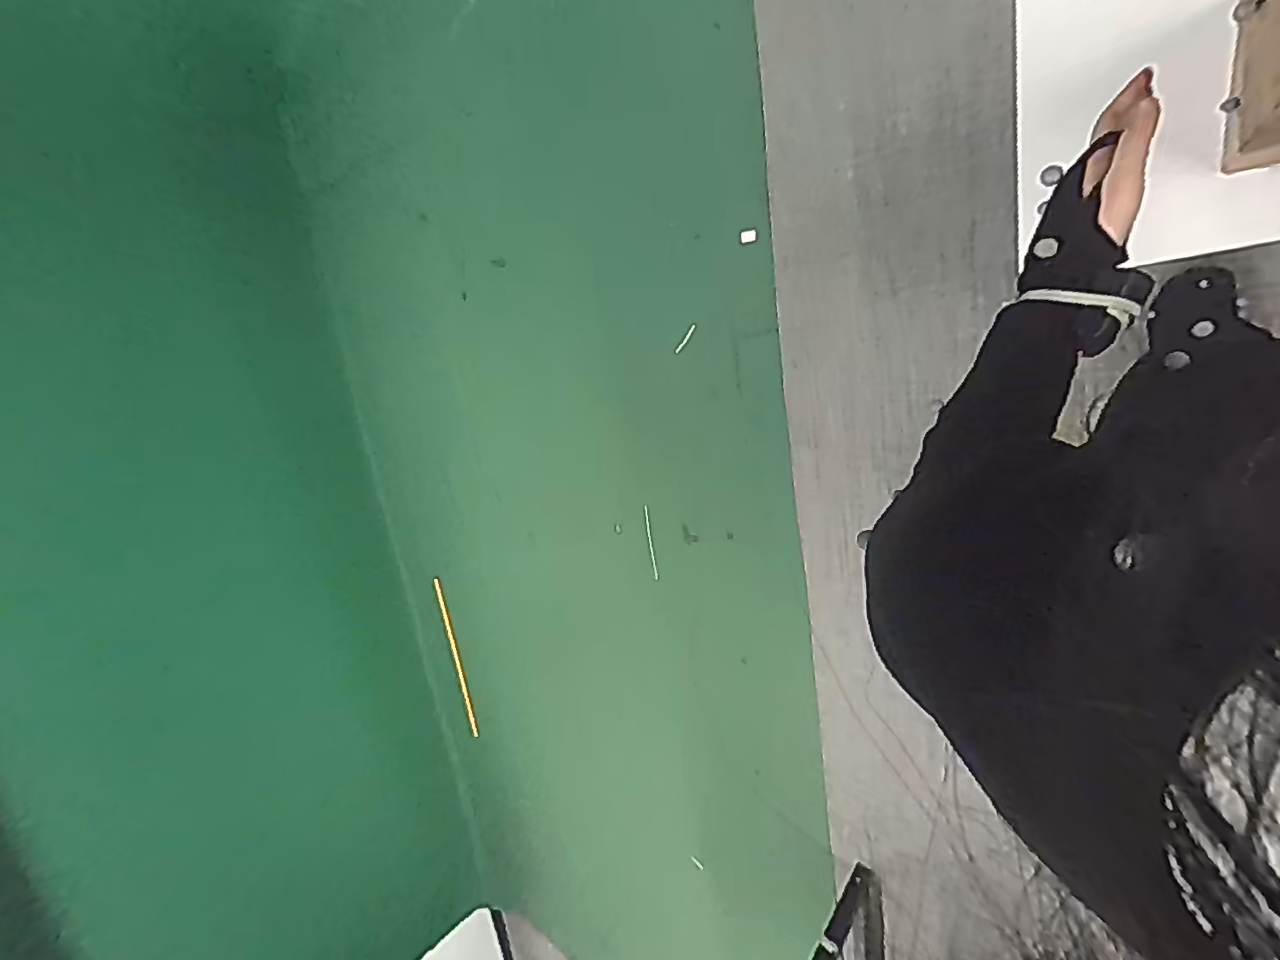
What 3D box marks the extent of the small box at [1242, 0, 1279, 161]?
[{"bbox_3d":[0.637,-0.396,0.448,0.168,0.176,0.179,4,107,42],"label":"small box"}]
